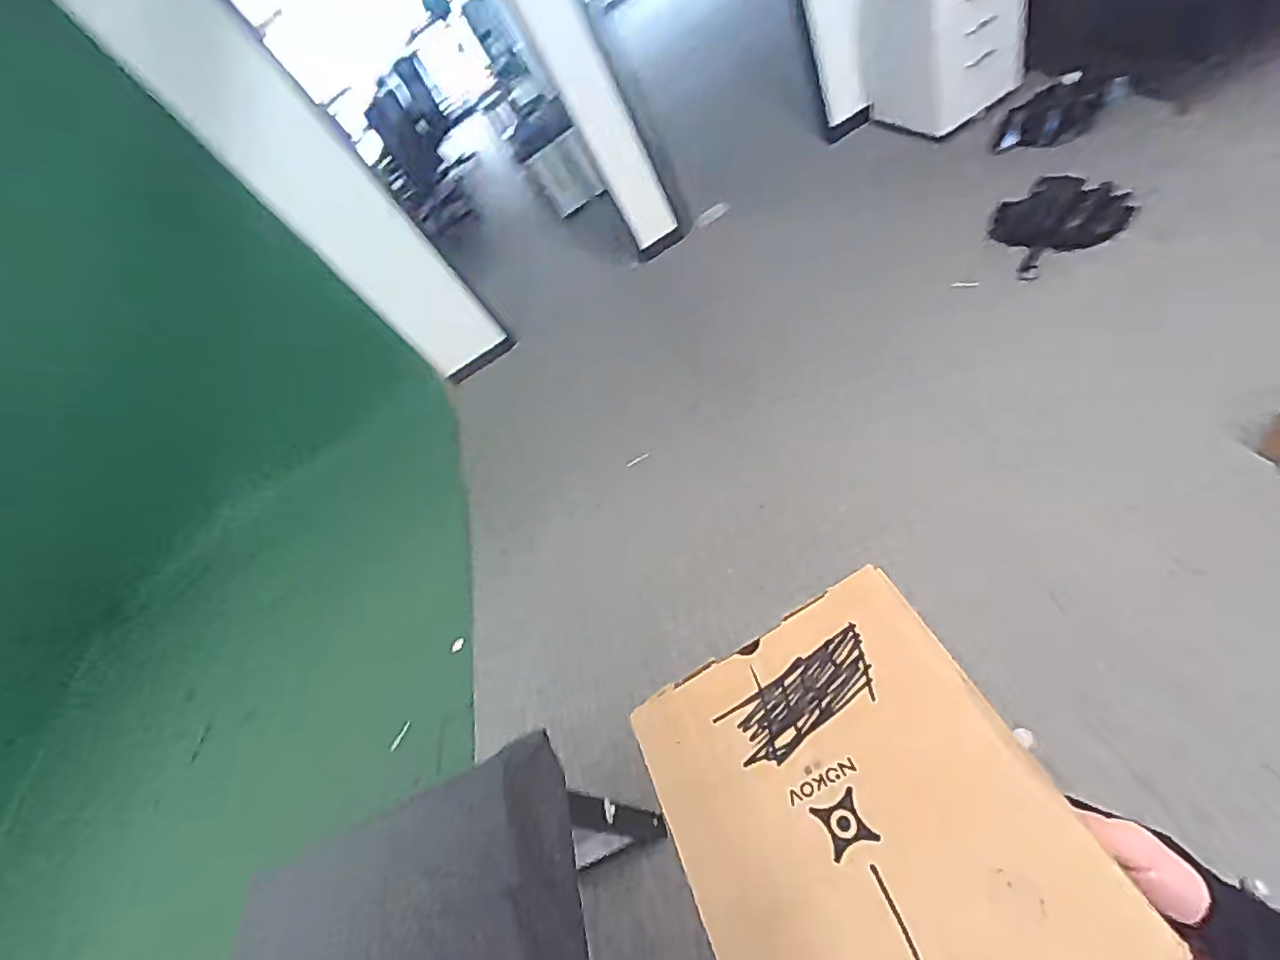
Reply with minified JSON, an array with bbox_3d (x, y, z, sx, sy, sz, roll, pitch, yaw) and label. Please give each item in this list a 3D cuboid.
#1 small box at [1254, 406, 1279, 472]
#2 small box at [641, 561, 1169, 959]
[{"bbox_3d":[1.555,-0.102,1.206,0.179,0.176,0.168,-33,43,8],"label":"small box"},{"bbox_3d":[0.130,0.184,0.318,0.168,0.176,0.179,-34,49,9],"label":"small box"}]
